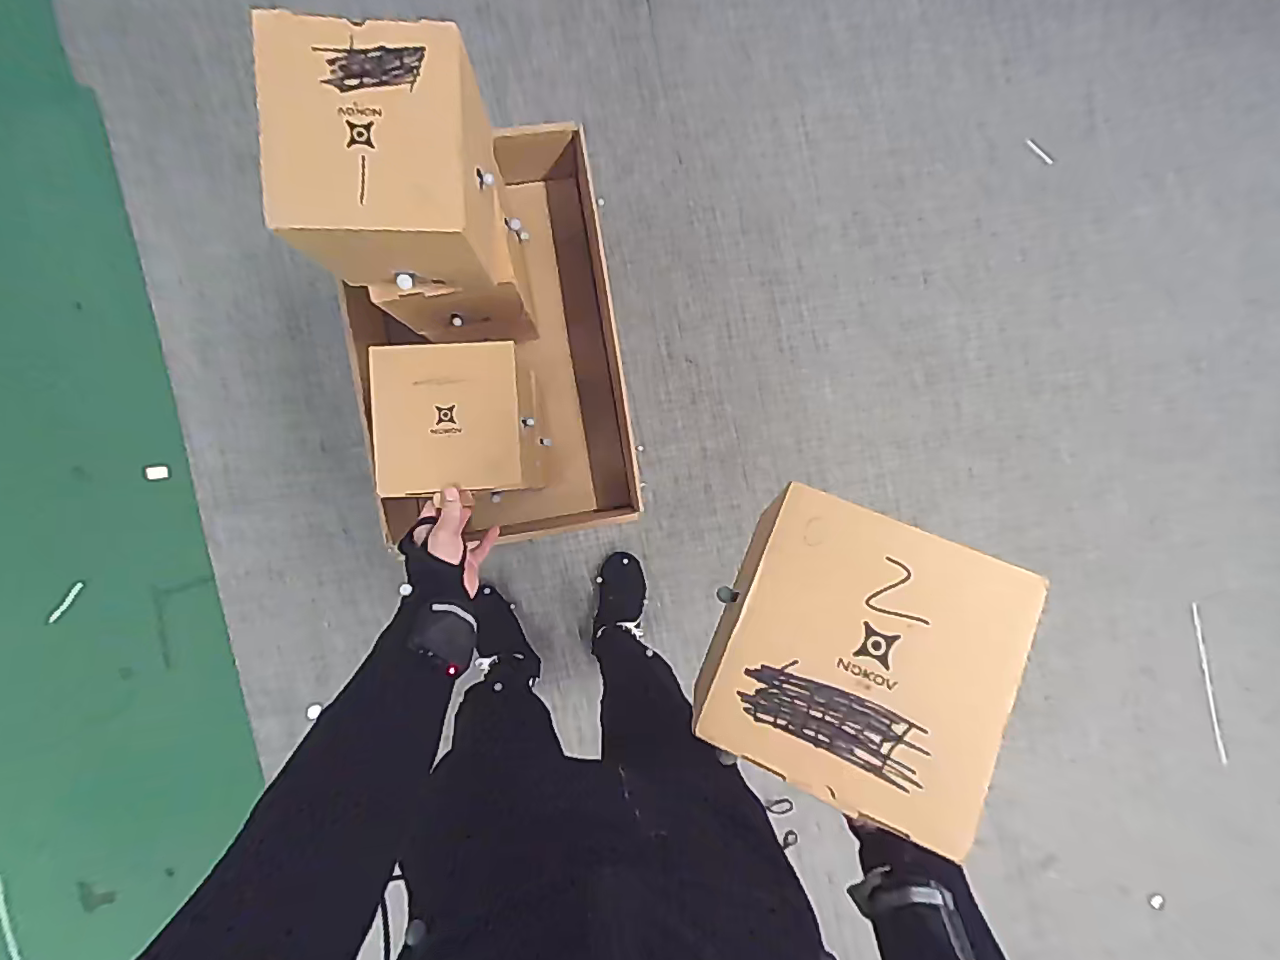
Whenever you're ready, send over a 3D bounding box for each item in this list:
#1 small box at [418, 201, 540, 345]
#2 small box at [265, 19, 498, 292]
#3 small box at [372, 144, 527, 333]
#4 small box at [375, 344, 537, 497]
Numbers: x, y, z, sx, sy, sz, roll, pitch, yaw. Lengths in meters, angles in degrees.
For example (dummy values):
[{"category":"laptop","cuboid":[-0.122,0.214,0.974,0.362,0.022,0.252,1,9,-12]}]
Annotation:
[{"category":"small box","cuboid":[-0.260,-0.316,0.868,0.168,0.176,0.179,-9,95,-3]},{"category":"small box","cuboid":[-0.241,-0.304,0.544,0.168,0.176,0.179,-1,93,-5]},{"category":"small box","cuboid":[-0.250,-0.307,0.708,0.168,0.176,0.179,-10,94,-5]},{"category":"small box","cuboid":[-0.228,-0.069,0.708,0.168,0.176,0.179,-2,88,-4]}]
